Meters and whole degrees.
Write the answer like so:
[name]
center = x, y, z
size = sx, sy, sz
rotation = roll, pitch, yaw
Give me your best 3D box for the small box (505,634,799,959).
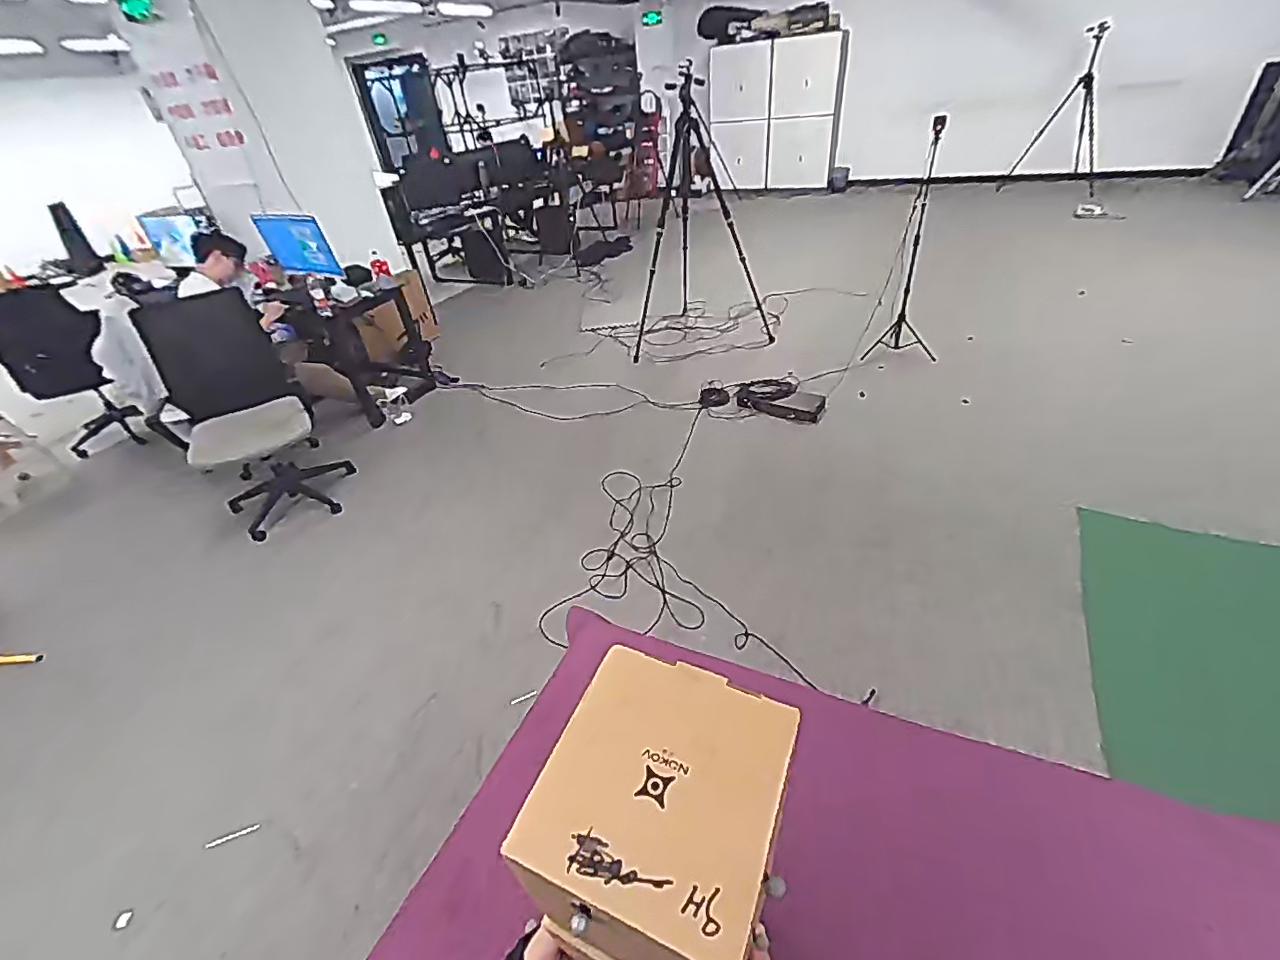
[small box]
center = 0.021, 0.265, 0.440
size = 0.168, 0.176, 0.179
rotation = 12, 43, 22
